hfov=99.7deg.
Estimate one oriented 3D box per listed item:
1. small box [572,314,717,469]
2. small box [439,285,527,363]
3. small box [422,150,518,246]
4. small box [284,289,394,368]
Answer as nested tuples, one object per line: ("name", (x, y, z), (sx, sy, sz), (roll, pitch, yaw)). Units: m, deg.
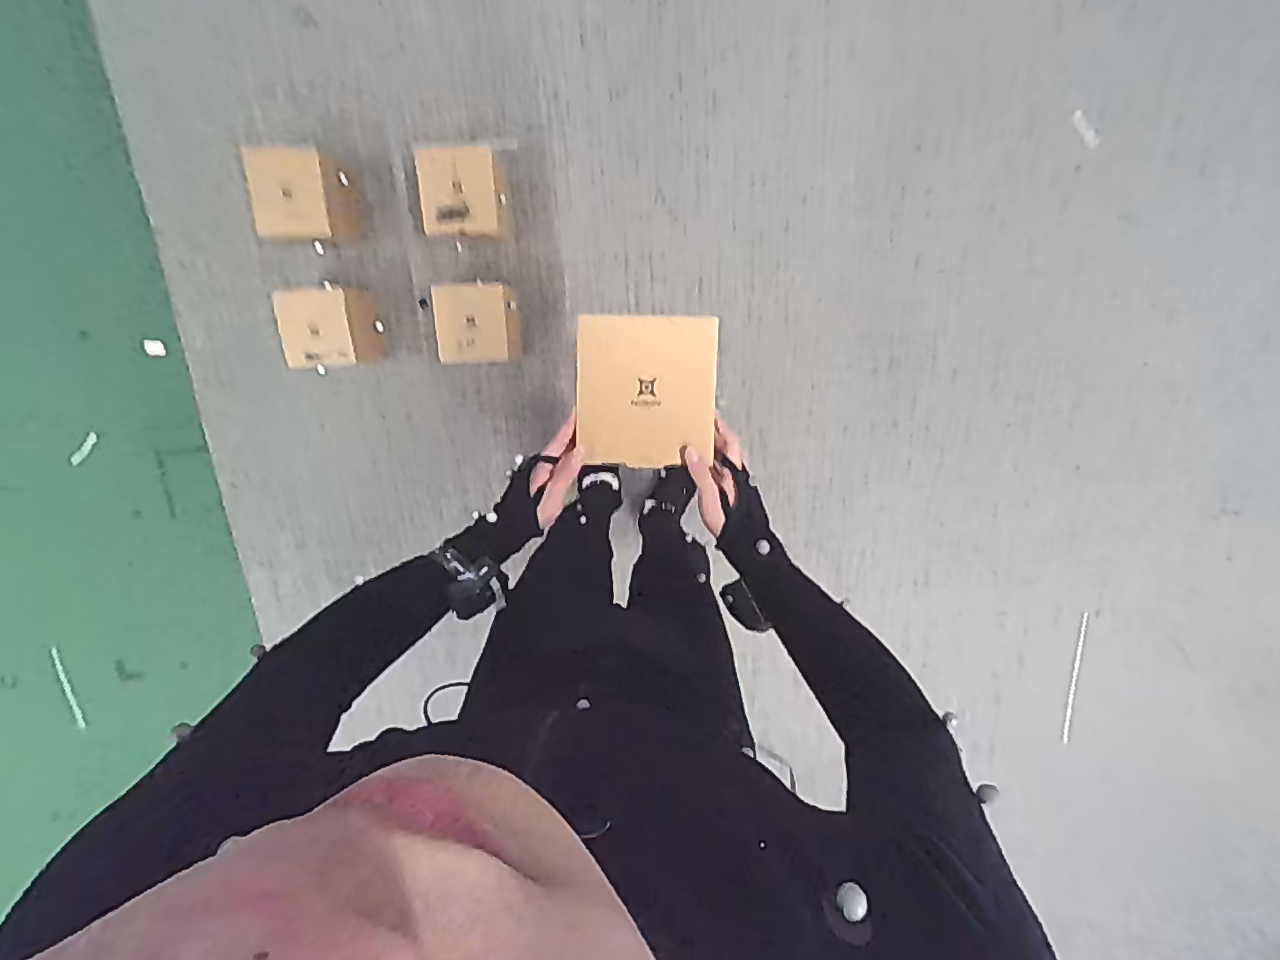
("small box", (0.005, -0.111, 0.709), (0.168, 0.176, 0.179), (2, 97, 2))
("small box", (-0.381, -0.382, 1.339), (0.168, 0.176, 0.179), (-1, 105, 1))
("small box", (-0.387, -0.649, 1.264), (0.168, 0.176, 0.179), (-1, 105, 1))
("small box", (-0.739, -0.373, 1.345), (0.168, 0.176, 0.179), (-2, 104, 2))
